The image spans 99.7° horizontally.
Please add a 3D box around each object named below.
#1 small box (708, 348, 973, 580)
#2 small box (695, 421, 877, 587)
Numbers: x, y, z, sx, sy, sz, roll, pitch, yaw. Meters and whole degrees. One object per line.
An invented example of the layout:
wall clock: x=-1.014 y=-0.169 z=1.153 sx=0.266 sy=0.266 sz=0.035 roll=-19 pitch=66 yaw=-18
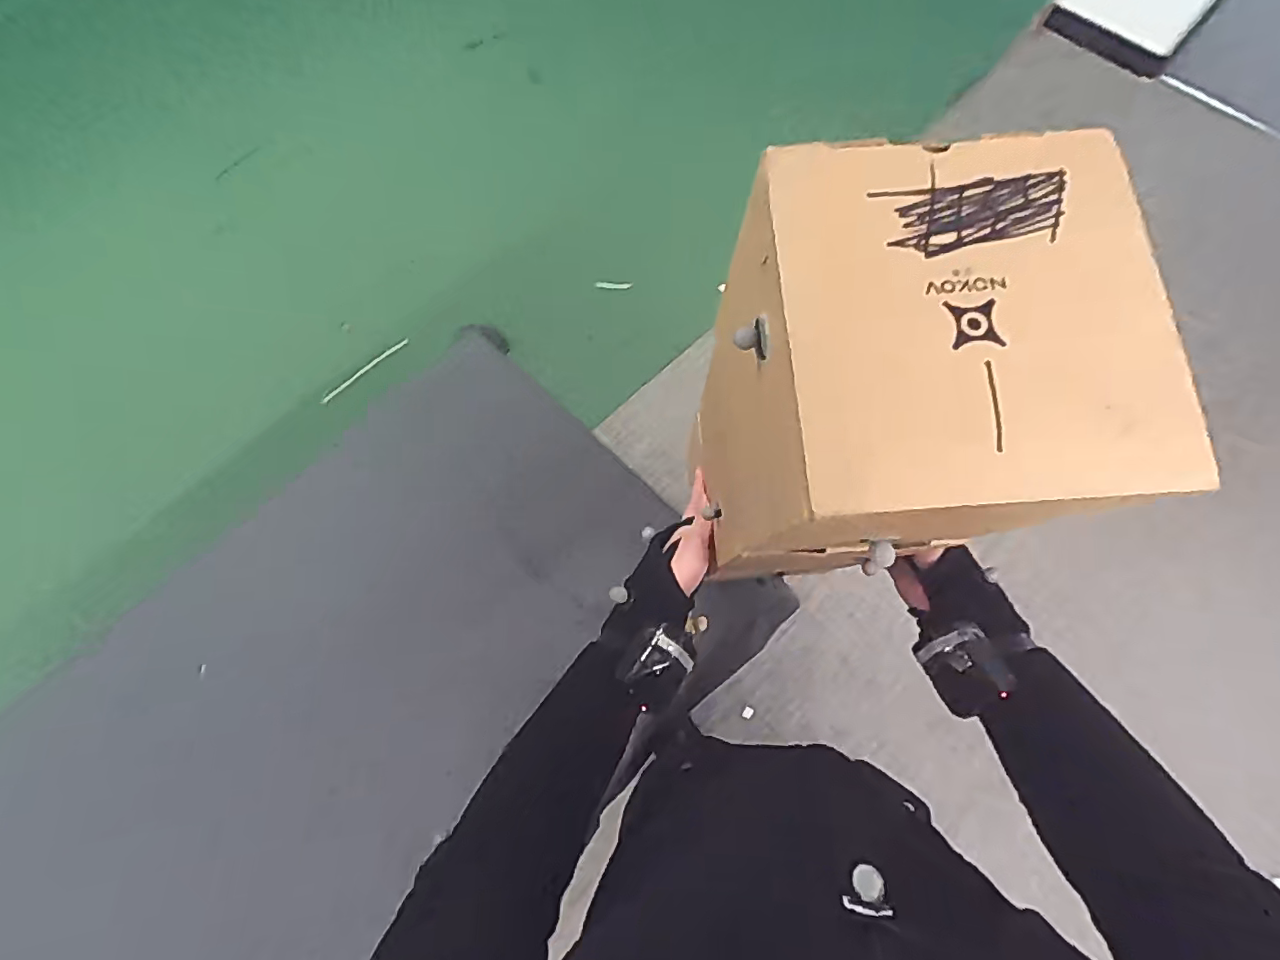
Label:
small box: x=0.155 y=-0.004 z=0.479 sx=0.168 sy=0.176 sz=0.179 roll=-3 pitch=75 yaw=-1
small box: x=0.157 y=0.034 z=0.637 sx=0.168 sy=0.176 sz=0.179 roll=-3 pitch=77 yaw=0
